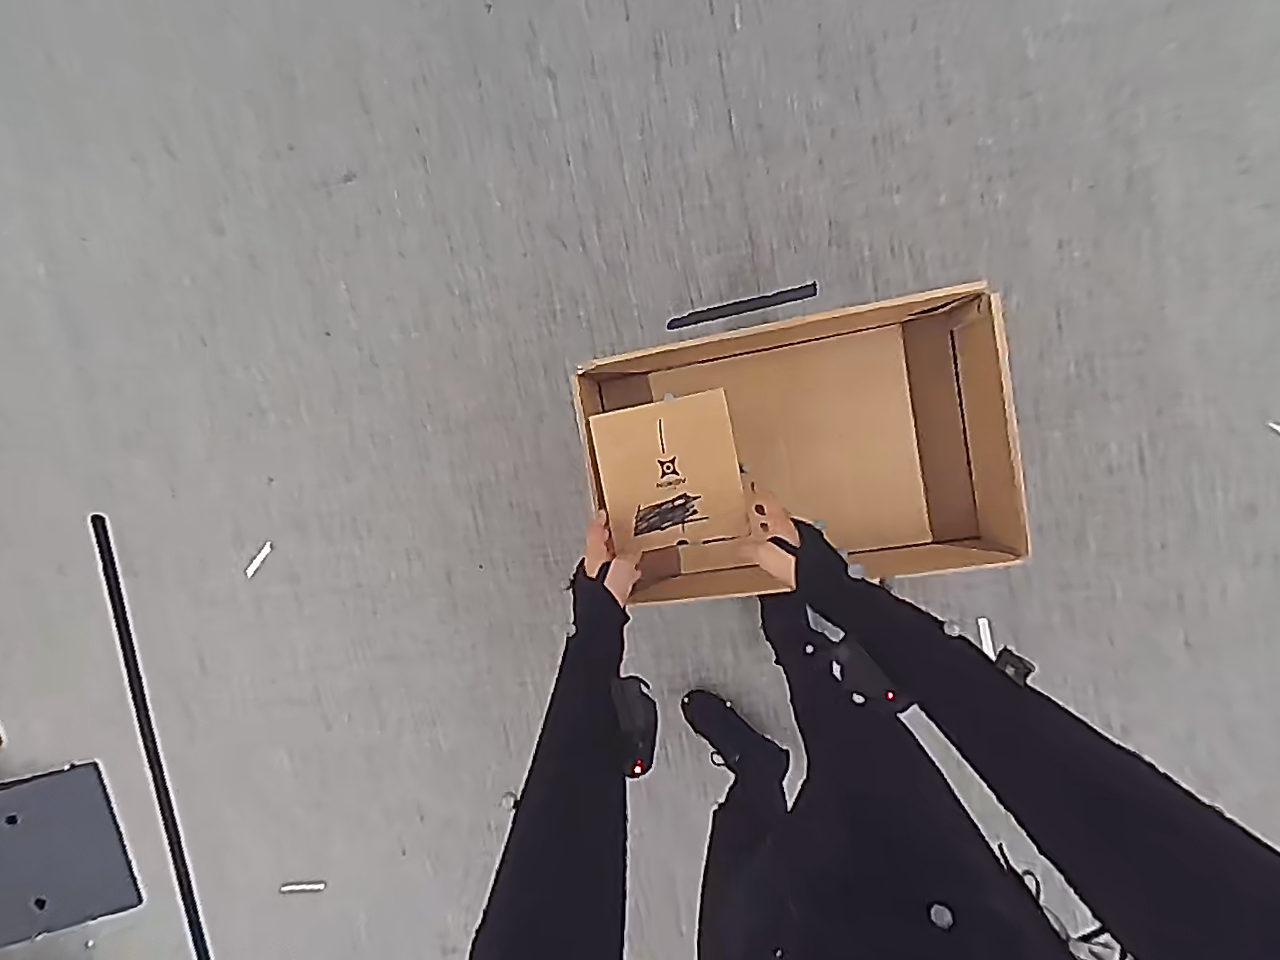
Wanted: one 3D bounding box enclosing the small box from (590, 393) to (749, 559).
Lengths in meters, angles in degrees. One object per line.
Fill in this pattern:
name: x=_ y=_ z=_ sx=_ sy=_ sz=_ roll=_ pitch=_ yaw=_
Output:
small box: x=0.048 y=-0.010 z=0.711 sx=0.168 sy=0.176 sz=0.179 roll=-11 pitch=92 yaw=10
